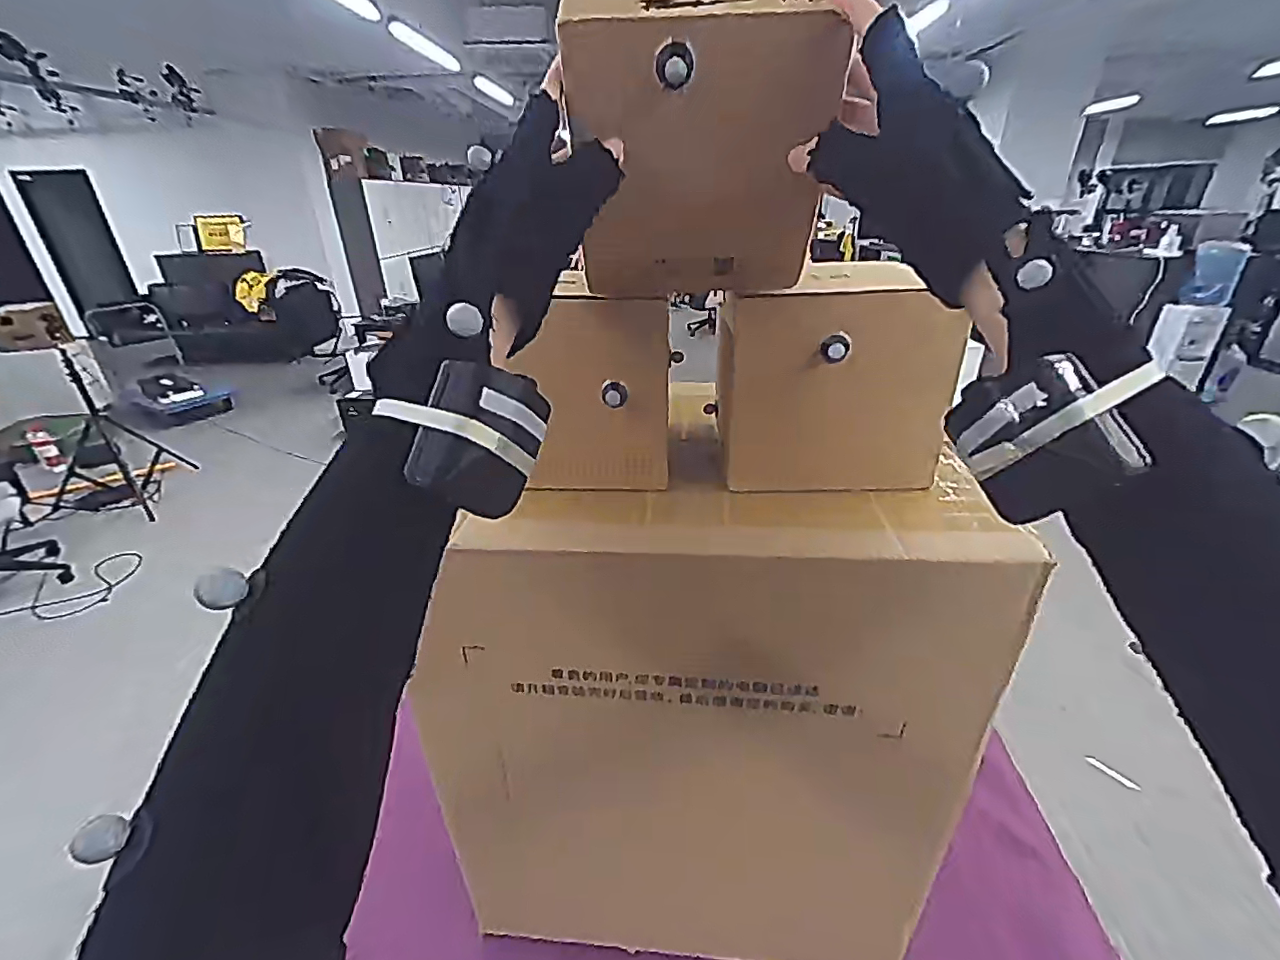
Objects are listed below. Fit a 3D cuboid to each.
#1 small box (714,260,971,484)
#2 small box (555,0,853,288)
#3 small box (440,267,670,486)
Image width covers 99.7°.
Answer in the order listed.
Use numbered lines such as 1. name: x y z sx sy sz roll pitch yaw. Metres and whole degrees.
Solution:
1. small box: 0.161 -0.104 0.500 0.179 0.176 0.168 0 27 2
2. small box: 0.036 -0.264 0.407 0.168 0.176 0.179 -1 50 1
3. small box: -0.062 -0.102 0.513 0.179 0.176 0.168 0 27 2
